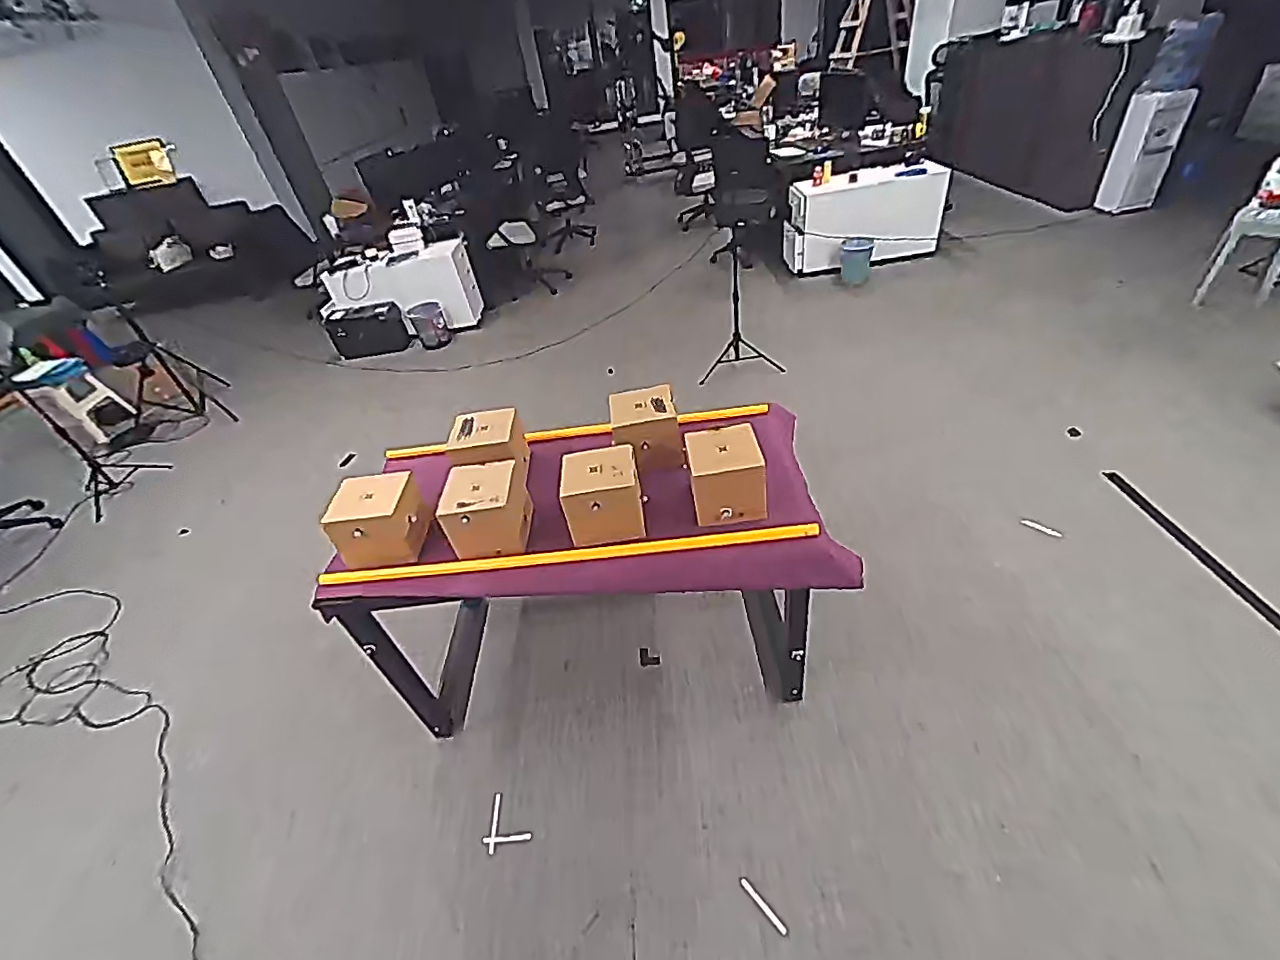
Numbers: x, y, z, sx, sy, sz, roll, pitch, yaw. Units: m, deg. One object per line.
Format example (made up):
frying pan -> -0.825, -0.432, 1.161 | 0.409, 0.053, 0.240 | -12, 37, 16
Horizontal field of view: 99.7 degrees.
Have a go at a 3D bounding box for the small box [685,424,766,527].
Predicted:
small box -> 0.204, -0.011, 1.303 | 0.168, 0.176, 0.179 | -10, 37, 4

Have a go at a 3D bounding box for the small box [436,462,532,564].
small box -> -0.373, 0.082, 1.332 | 0.168, 0.176, 0.179 | -8, 39, 4

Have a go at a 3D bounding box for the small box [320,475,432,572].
small box -> -0.650, 0.112, 1.360 | 0.179, 0.176, 0.168 | -8, 39, 3

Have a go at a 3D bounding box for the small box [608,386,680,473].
small box -> 0.014, -0.136, 1.501 | 0.179, 0.176, 0.168 | -10, 40, 2

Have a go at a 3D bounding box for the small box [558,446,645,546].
small box -> -0.090, 0.043, 1.310 | 0.179, 0.176, 0.168 | -9, 38, 2
